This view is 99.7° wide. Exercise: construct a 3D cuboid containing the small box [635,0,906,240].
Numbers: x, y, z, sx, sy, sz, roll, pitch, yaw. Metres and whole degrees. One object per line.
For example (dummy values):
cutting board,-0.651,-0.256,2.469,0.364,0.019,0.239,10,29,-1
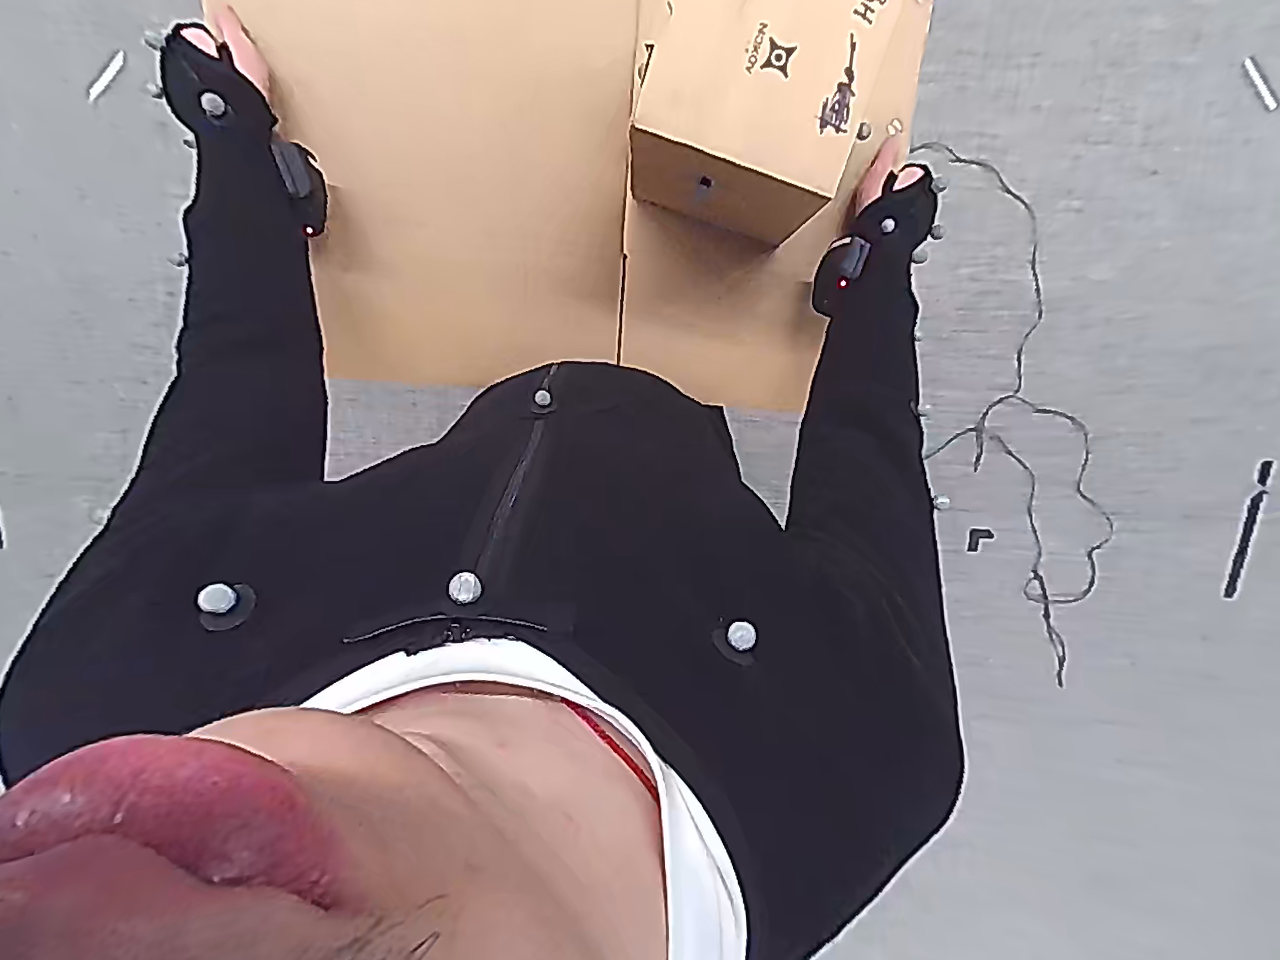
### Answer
small box,0.102,-0.347,0.503,0.179,0.176,0.168,18,100,-3
